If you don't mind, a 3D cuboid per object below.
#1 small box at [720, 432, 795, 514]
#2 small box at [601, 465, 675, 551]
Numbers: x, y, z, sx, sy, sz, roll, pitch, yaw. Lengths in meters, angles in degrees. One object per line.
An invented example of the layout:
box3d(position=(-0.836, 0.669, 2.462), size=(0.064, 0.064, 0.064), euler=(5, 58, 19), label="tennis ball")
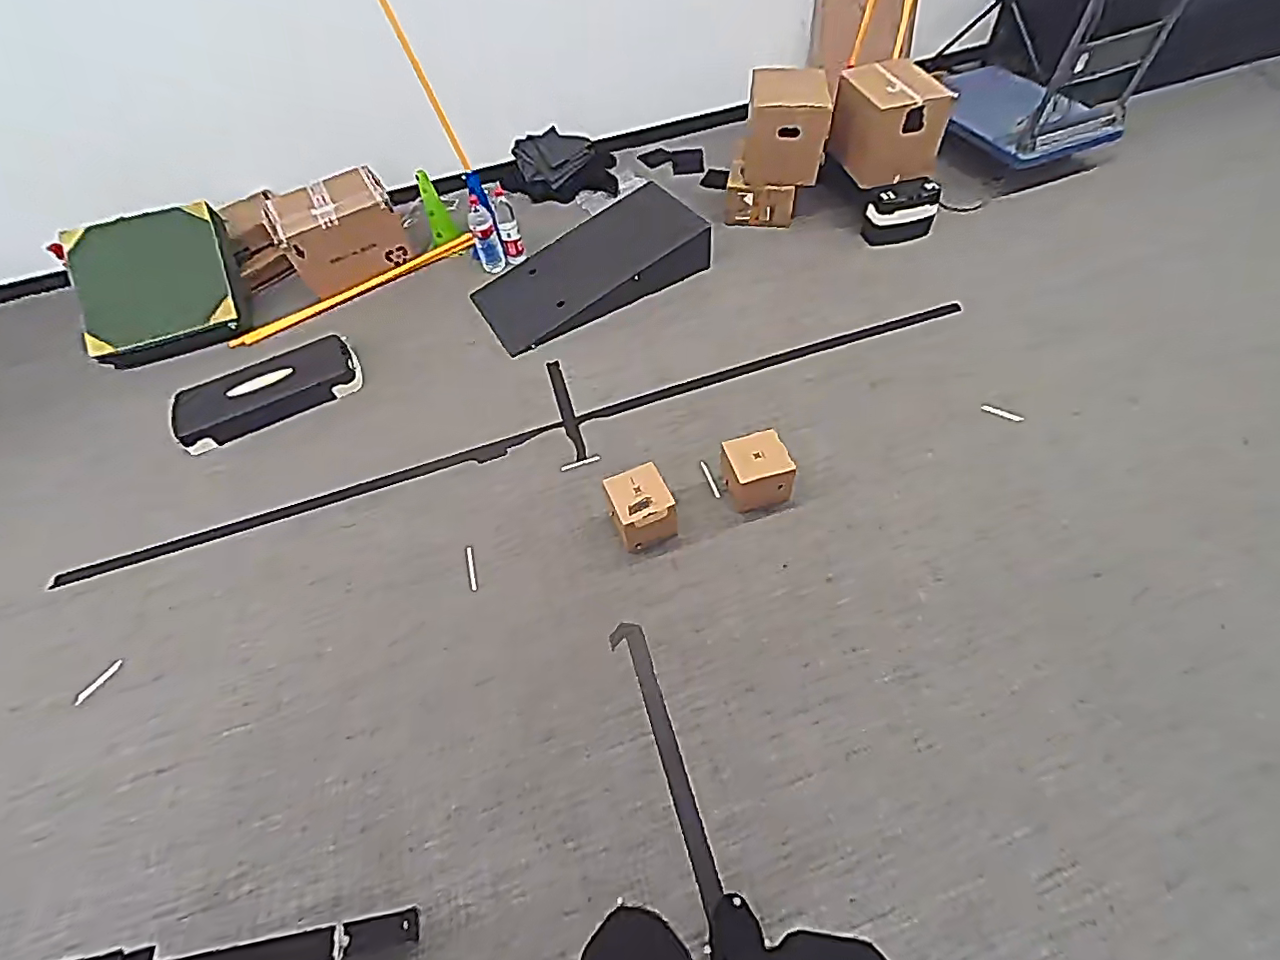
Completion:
box3d(position=(0.354, -0.018, 1.667), size=(0.179, 0.176, 0.168), euler=(-15, 54, -4), label="small box")
box3d(position=(-0.002, 0.092, 1.622), size=(0.168, 0.176, 0.179), euler=(-21, 55, -10), label="small box")
